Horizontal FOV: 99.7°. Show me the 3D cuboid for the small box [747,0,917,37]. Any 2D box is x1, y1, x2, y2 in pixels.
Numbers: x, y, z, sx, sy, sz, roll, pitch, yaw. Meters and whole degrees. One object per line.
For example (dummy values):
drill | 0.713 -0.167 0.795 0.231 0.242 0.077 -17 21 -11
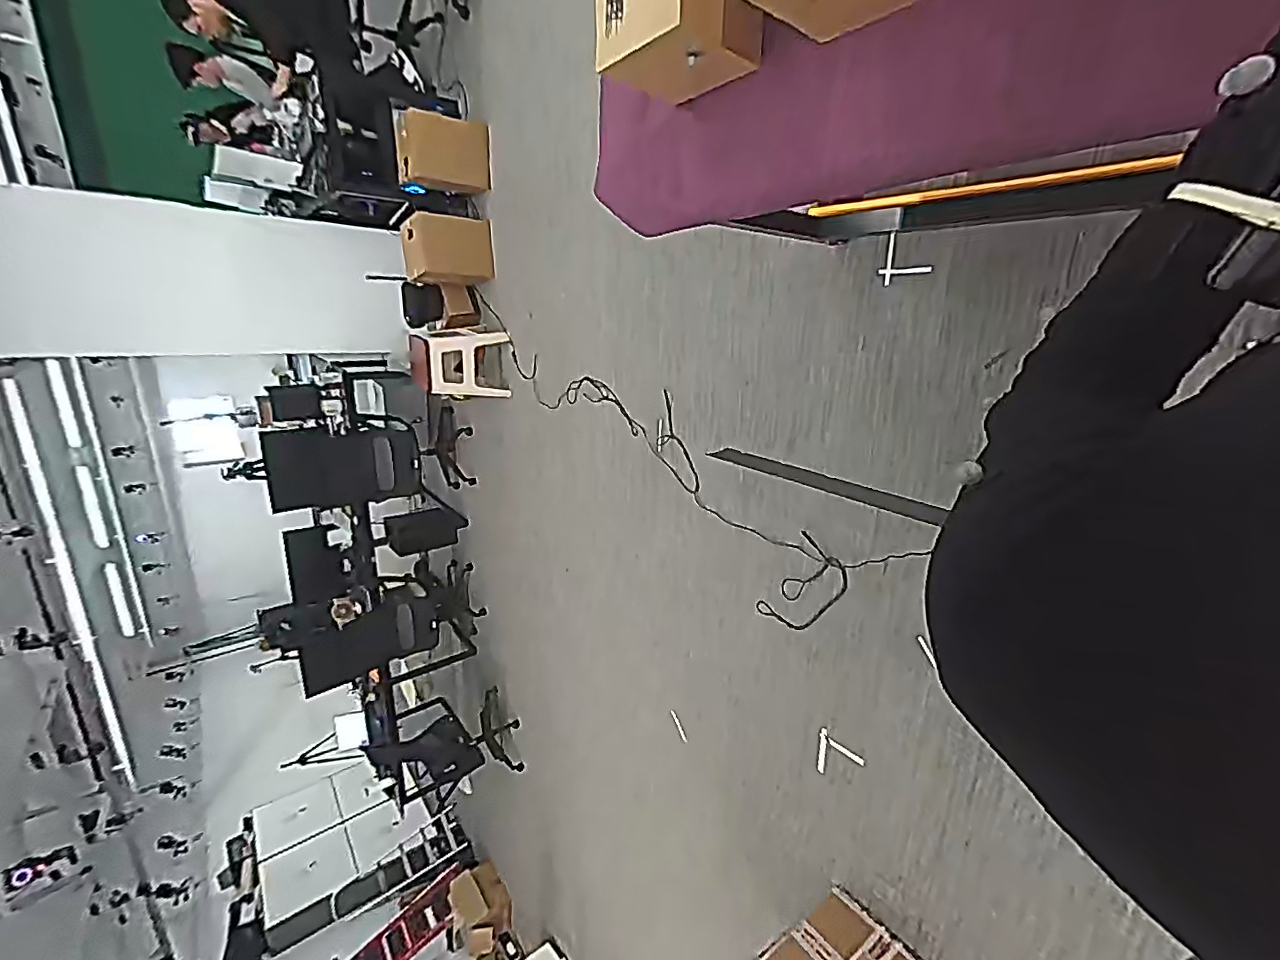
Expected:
small box | 0.227 -0.609 0.562 0.179 0.176 0.168 22 116 49
